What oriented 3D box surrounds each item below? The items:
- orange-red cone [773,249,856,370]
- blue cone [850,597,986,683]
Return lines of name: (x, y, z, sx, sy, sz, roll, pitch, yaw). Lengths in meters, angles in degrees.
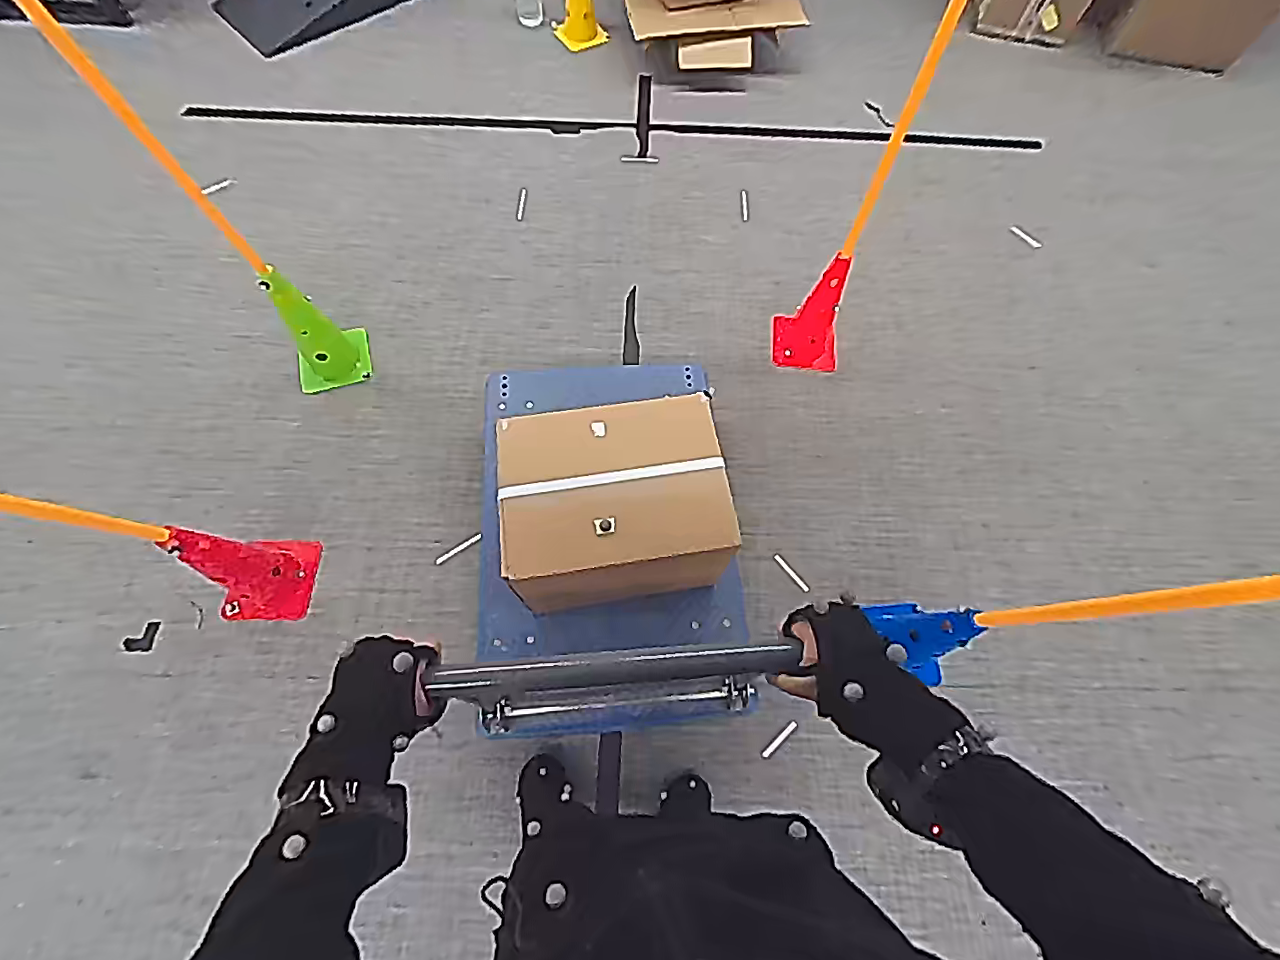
orange-red cone: (0.527, -0.505, 1.536, 0.199, 0.360, 0.198, 8, 66, 1)
blue cone: (0.632, 0.327, 1.182, 0.193, 0.380, 0.192, -2, 65, -3)
